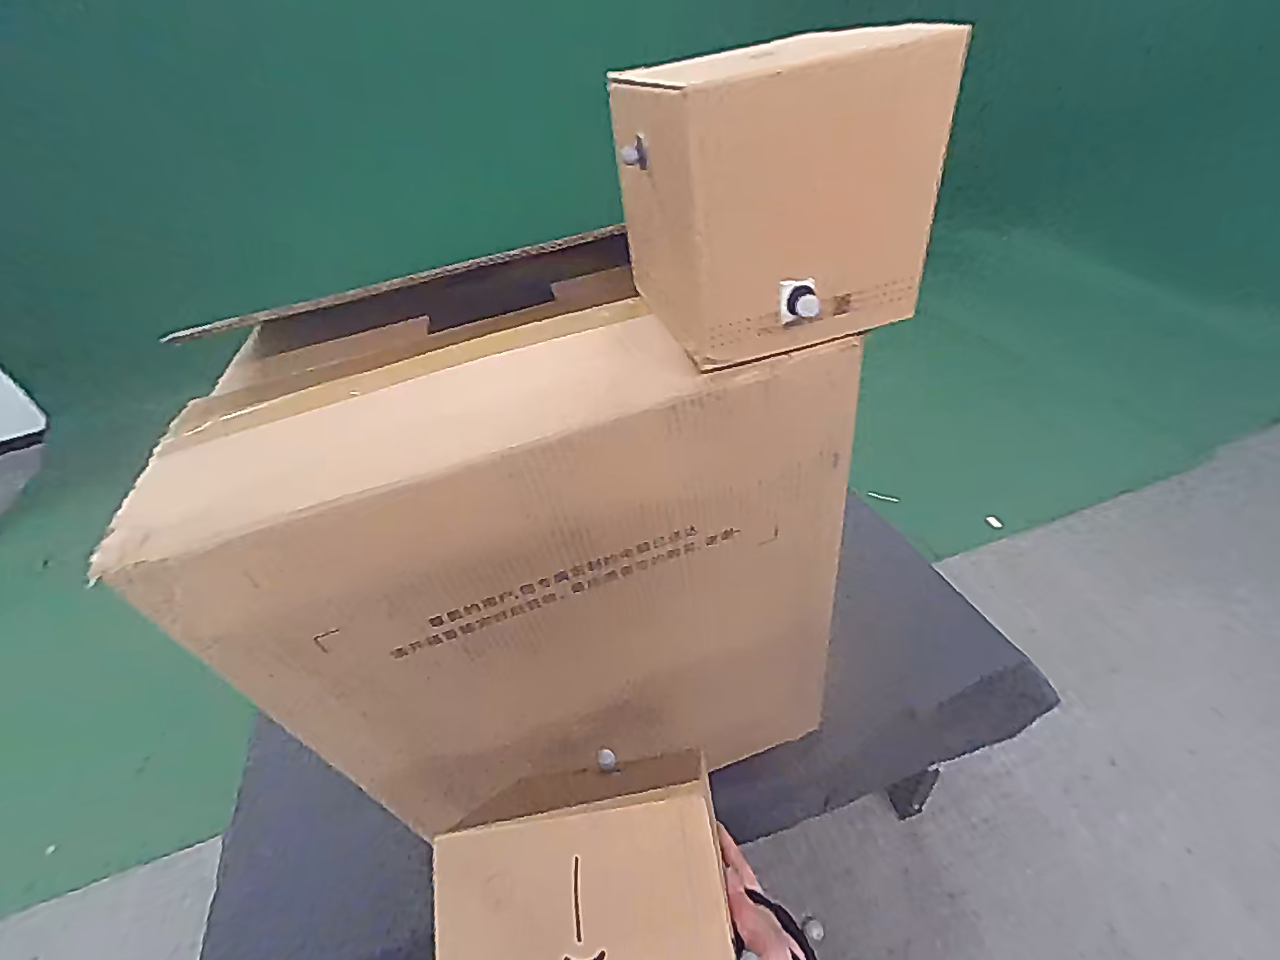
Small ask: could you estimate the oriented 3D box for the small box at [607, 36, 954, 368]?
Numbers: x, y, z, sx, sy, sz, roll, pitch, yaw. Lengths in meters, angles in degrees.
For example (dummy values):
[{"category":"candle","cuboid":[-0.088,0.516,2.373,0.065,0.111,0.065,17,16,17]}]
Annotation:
[{"category":"small box","cuboid":[0.085,-0.207,0.403,0.168,0.176,0.179,-18,41,-8]}]
